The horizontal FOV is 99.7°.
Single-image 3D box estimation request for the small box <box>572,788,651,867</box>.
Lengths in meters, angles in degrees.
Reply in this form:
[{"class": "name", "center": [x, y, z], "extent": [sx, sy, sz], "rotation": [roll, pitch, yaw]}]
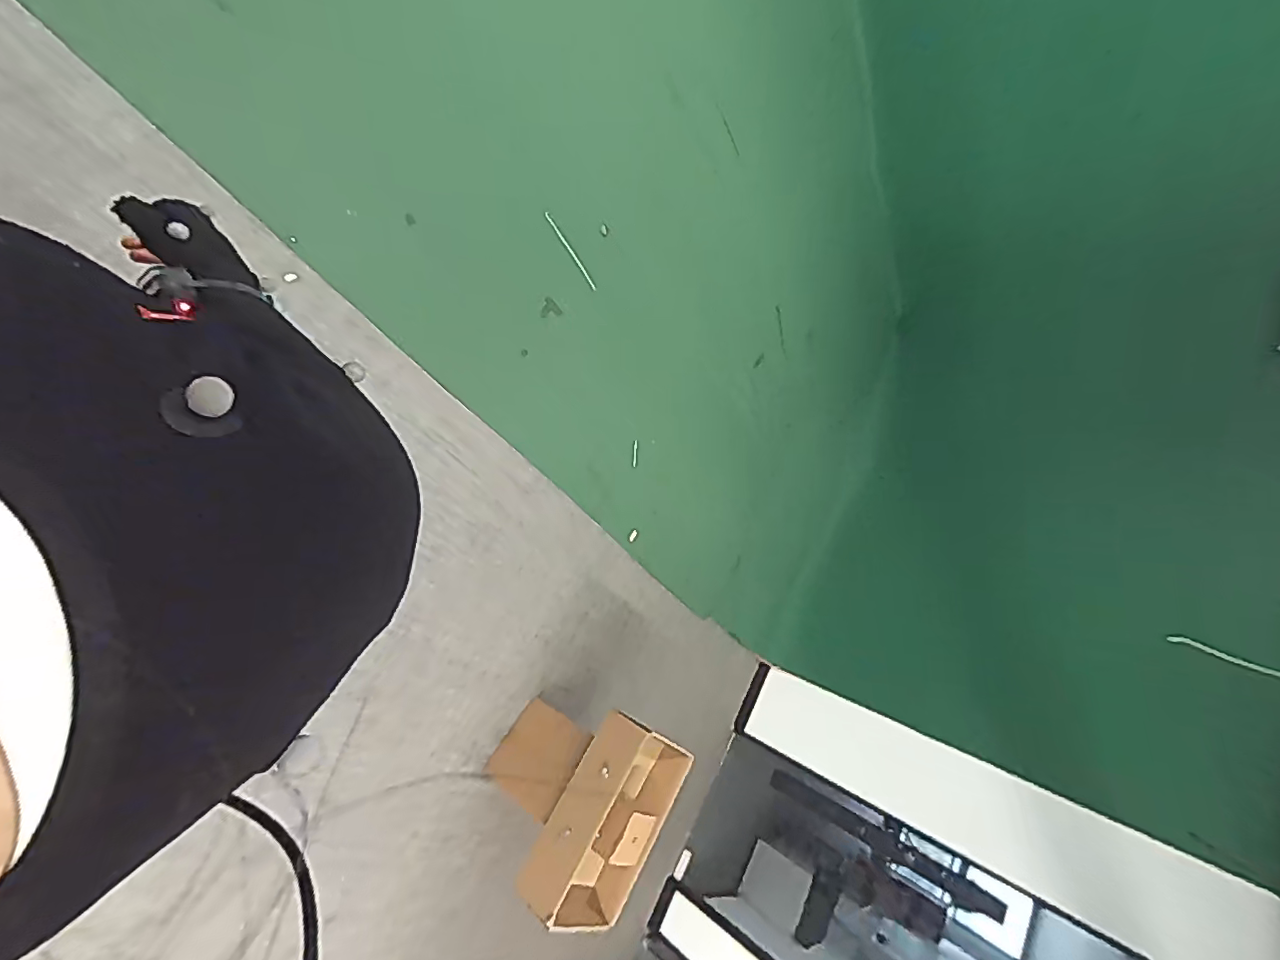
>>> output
[{"class": "small box", "center": [-0.100, 1.173, 1.831], "extent": [0.168, 0.176, 0.179], "rotation": [-60, 140, -18]}]
